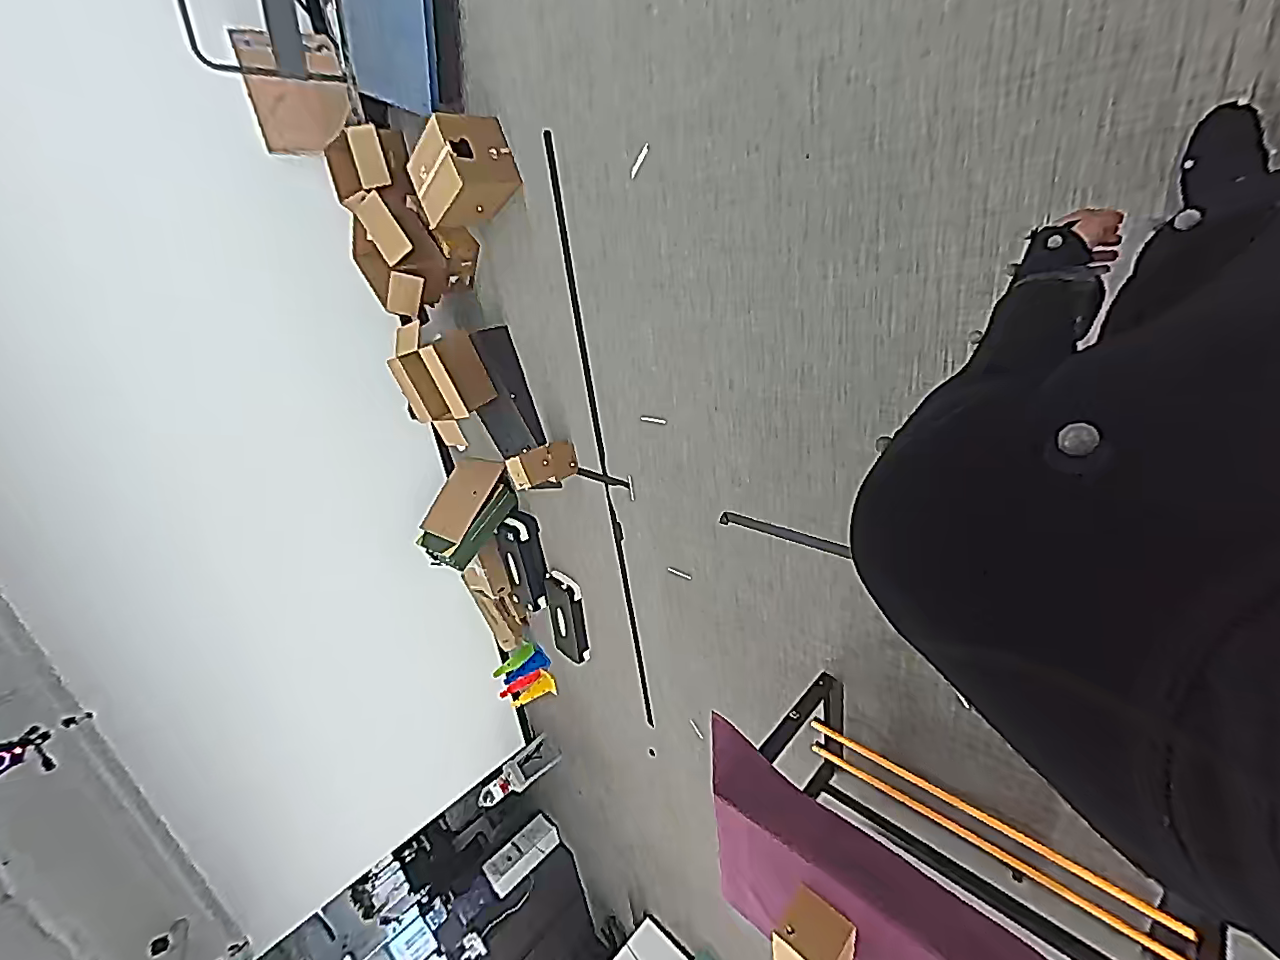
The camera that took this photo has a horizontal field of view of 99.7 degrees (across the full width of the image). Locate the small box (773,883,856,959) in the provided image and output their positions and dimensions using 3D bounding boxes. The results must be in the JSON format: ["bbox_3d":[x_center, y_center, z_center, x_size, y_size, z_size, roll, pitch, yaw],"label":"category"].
[{"bbox_3d":[0.507,1.333,1.569,0.179,0.176,0.168,17,124,43],"label":"small box"}]
